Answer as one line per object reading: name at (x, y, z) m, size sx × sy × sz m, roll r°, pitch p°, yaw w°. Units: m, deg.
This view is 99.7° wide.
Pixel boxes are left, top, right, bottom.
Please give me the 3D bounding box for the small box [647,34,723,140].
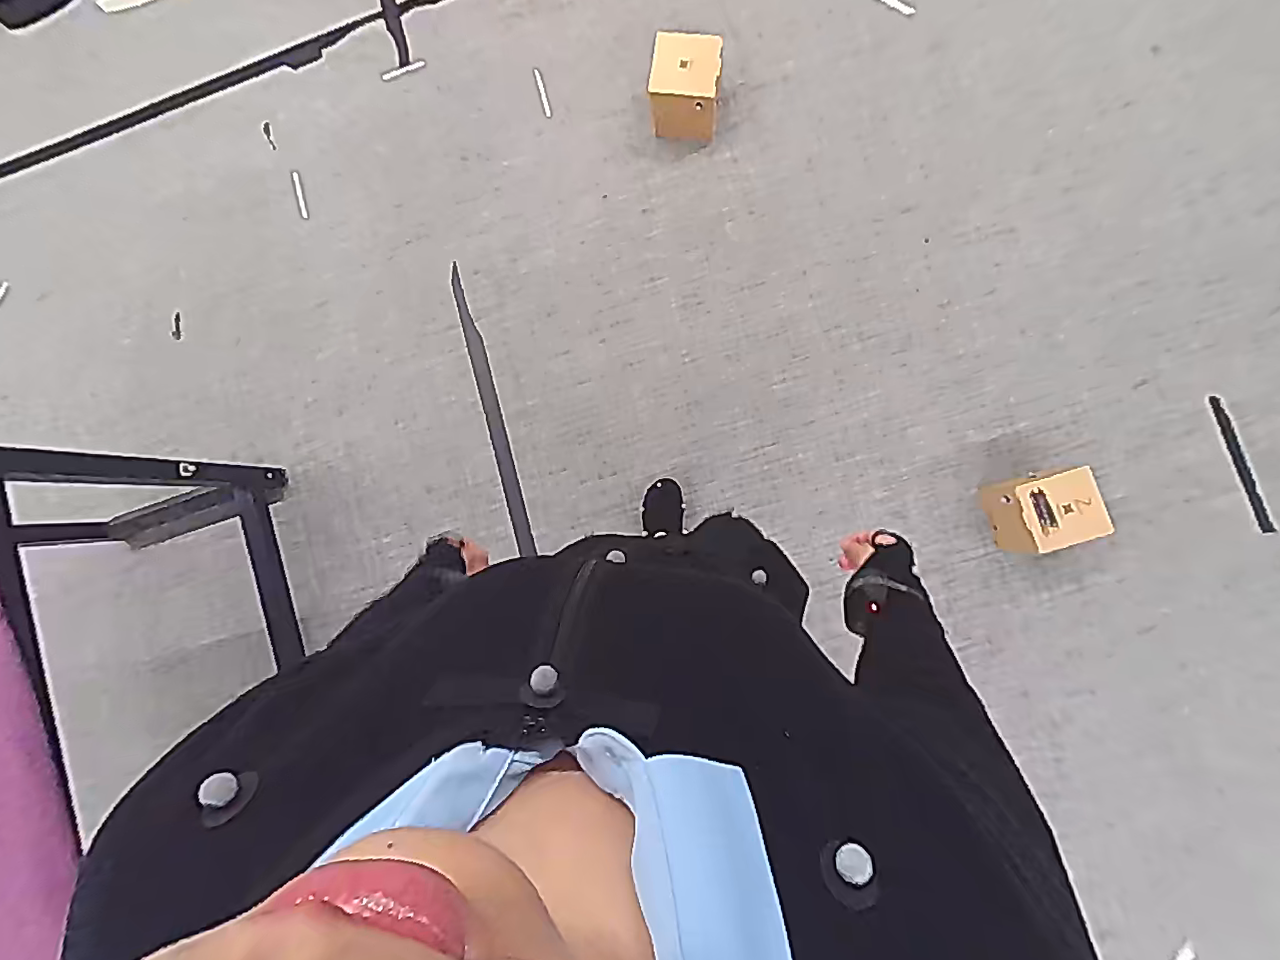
small box at (0.123, -1.060, 1.469) m, size 0.179 × 0.176 × 0.168 m, roll 9°, pitch 88°, yaw 6°
